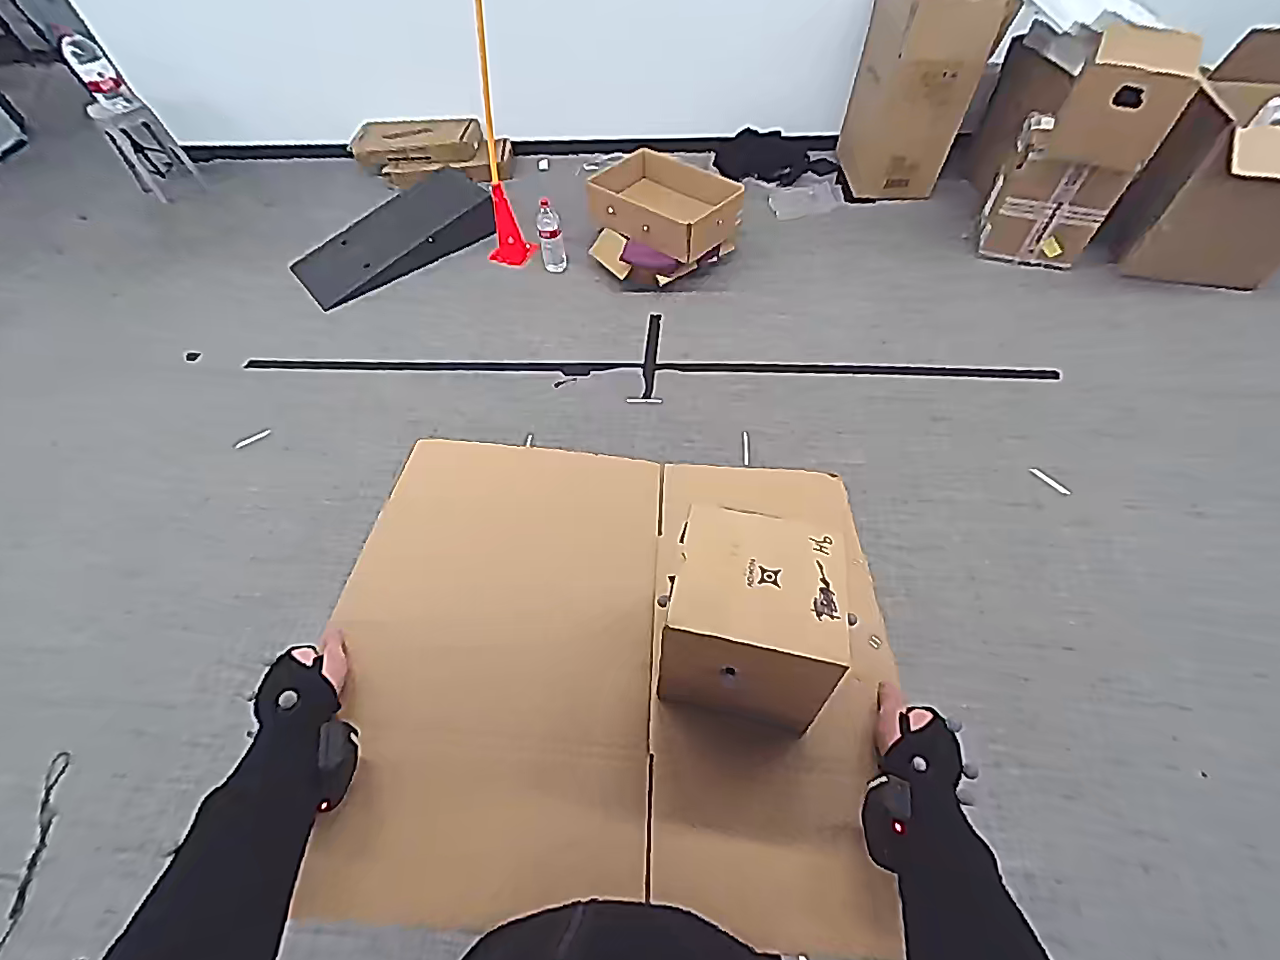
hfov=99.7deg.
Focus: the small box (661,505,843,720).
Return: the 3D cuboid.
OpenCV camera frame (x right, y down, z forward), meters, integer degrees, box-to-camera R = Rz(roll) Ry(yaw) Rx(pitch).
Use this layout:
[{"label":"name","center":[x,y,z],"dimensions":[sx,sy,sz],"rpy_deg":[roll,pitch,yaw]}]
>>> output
[{"label":"small box","center":[0.123,0.155,0.626],"dimensions":[0.179,0.176,0.168],"rpy_deg":[9,47,9]}]
